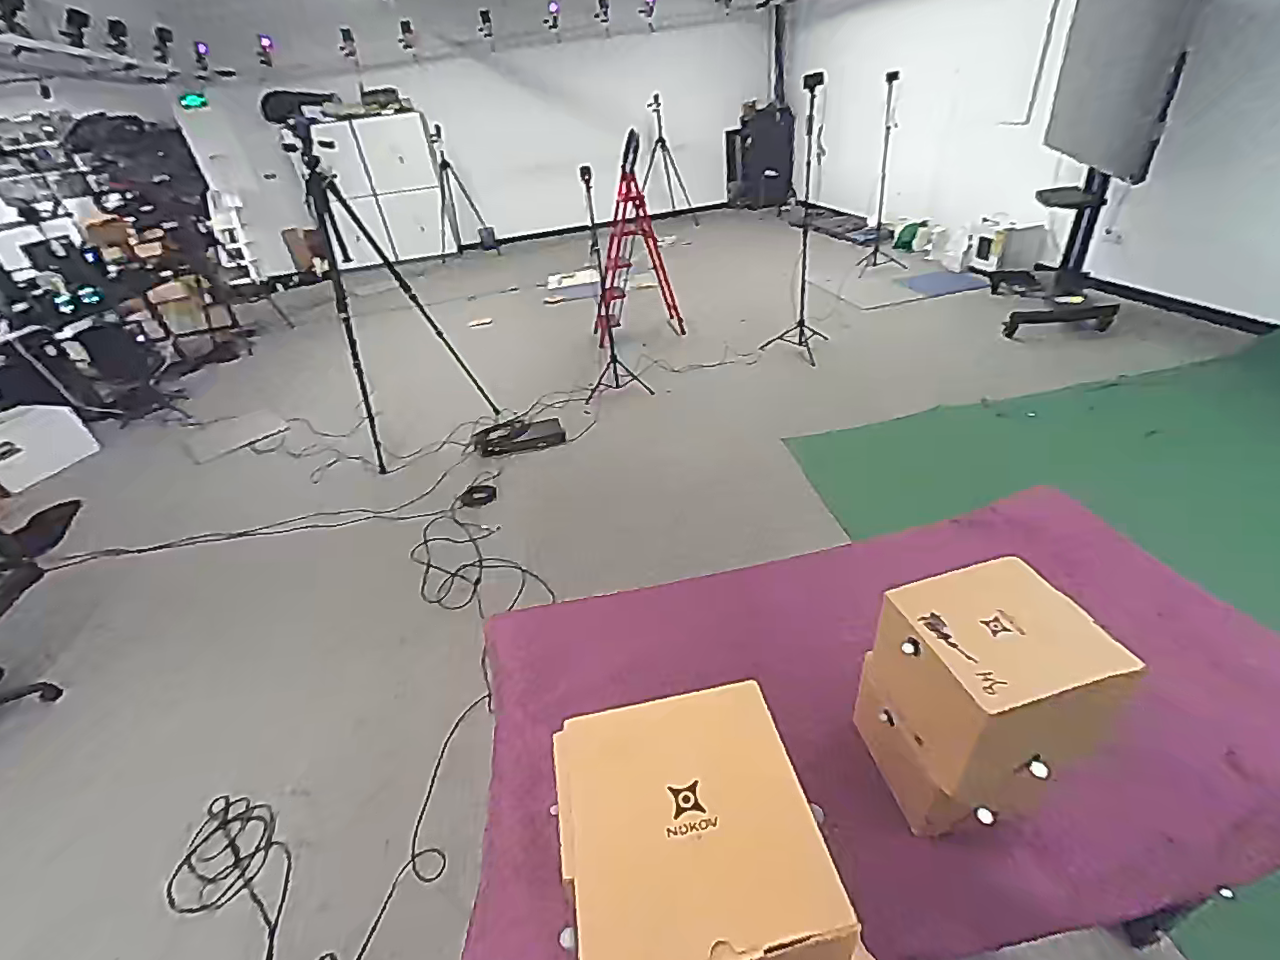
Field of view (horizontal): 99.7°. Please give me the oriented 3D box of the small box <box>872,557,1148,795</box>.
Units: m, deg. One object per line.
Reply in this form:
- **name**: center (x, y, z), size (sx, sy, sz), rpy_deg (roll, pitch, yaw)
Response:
- **small box**: center (0.390, 0.217, 0.610), size (0.179, 0.176, 0.168), rpy_deg (-12, 34, -6)

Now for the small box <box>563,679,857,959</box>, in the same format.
- **small box**: center (0.036, 0.289, 0.413), size (0.168, 0.176, 0.179), rpy_deg (-9, 33, -6)

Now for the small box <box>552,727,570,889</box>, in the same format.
- **small box**: center (-0.012, 0.421, 0.681), size (0.168, 0.176, 0.179), rpy_deg (-12, 33, -5)

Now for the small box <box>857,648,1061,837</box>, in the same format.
- **small box**: center (0.412, 0.335, 0.725), size (0.168, 0.176, 0.179), rpy_deg (-11, 34, -4)
